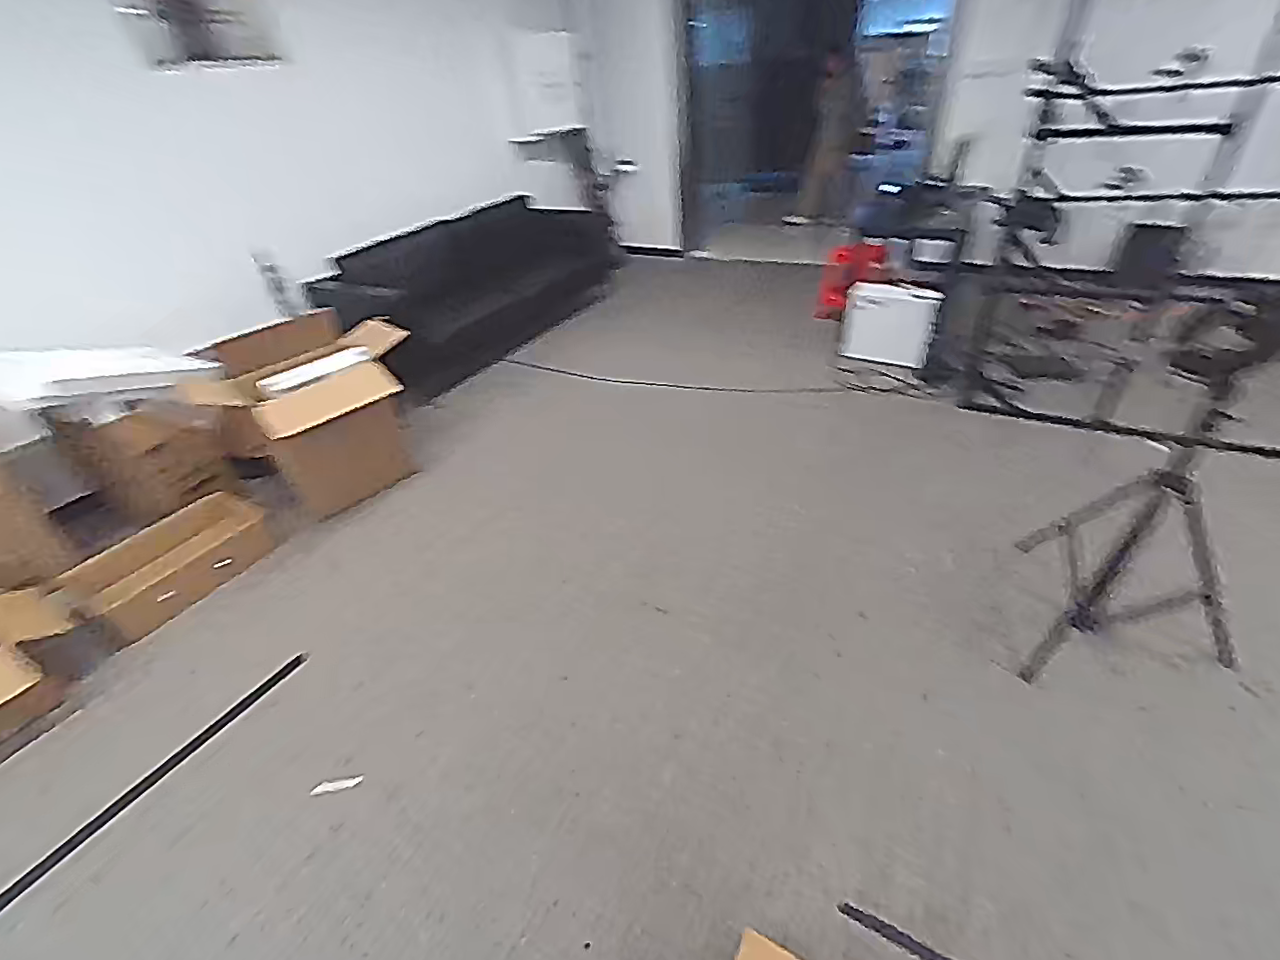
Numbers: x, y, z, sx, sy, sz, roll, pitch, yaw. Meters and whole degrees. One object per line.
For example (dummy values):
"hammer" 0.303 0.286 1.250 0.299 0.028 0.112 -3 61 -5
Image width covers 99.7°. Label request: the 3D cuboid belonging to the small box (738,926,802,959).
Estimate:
"small box" 0.231 0.948 0.947 0.168 0.176 0.179 16 41 27
